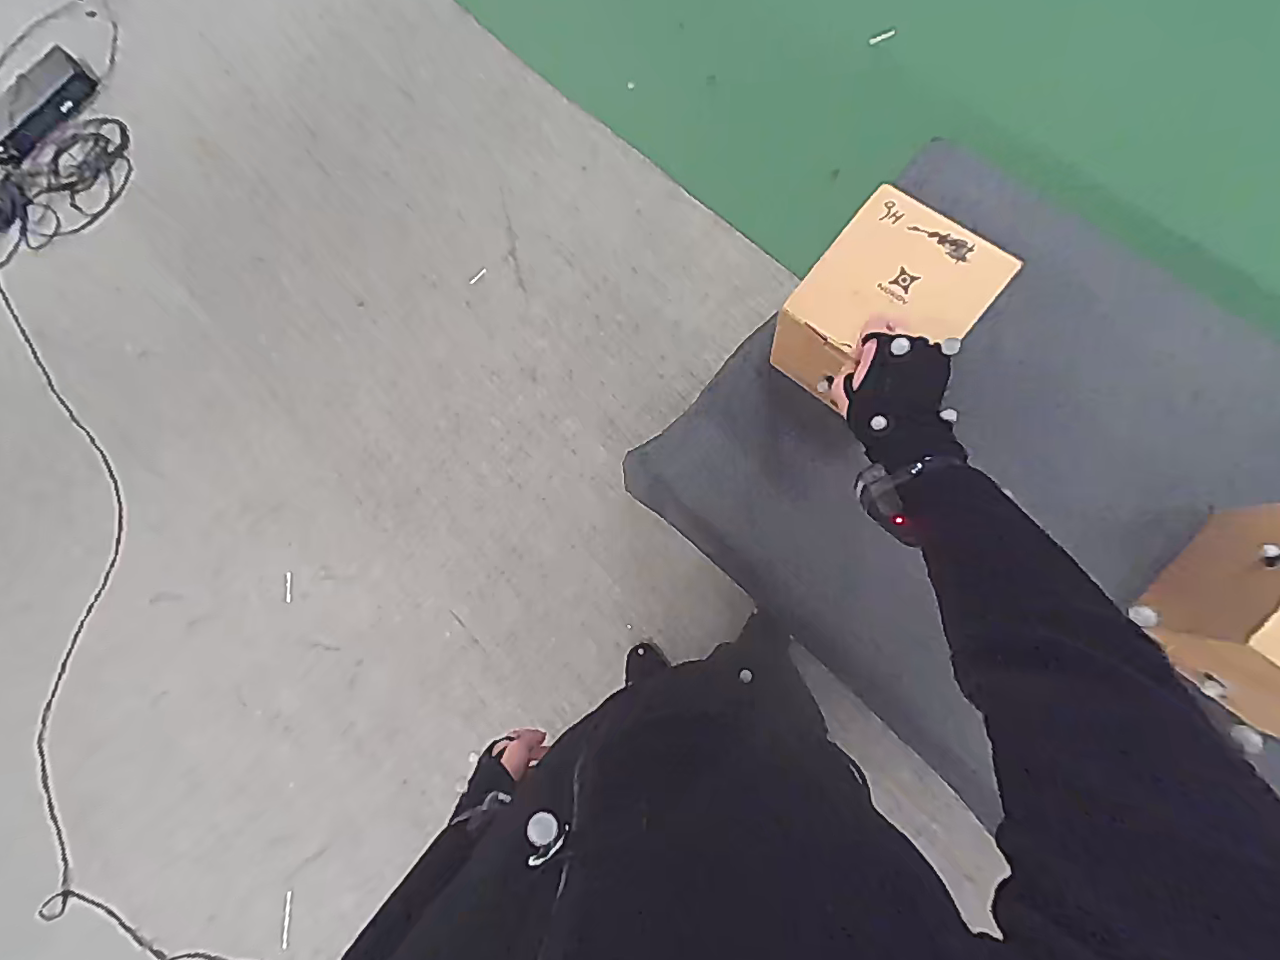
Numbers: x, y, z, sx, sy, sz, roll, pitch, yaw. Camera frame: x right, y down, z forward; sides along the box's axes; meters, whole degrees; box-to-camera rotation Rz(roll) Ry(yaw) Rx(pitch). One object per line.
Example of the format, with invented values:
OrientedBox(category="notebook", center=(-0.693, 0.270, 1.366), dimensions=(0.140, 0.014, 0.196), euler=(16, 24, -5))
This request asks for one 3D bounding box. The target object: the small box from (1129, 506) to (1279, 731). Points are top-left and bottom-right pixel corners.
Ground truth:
OrientedBox(category="small box", center=(0.637, 0.133, 0.511), dimensions=(0.168, 0.176, 0.179), euler=(42, 92, 14))

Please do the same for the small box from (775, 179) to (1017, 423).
OrientedBox(category="small box", center=(0.274, -0.191, 0.629), dimensions=(0.168, 0.176, 0.179), euler=(40, 91, 13))
